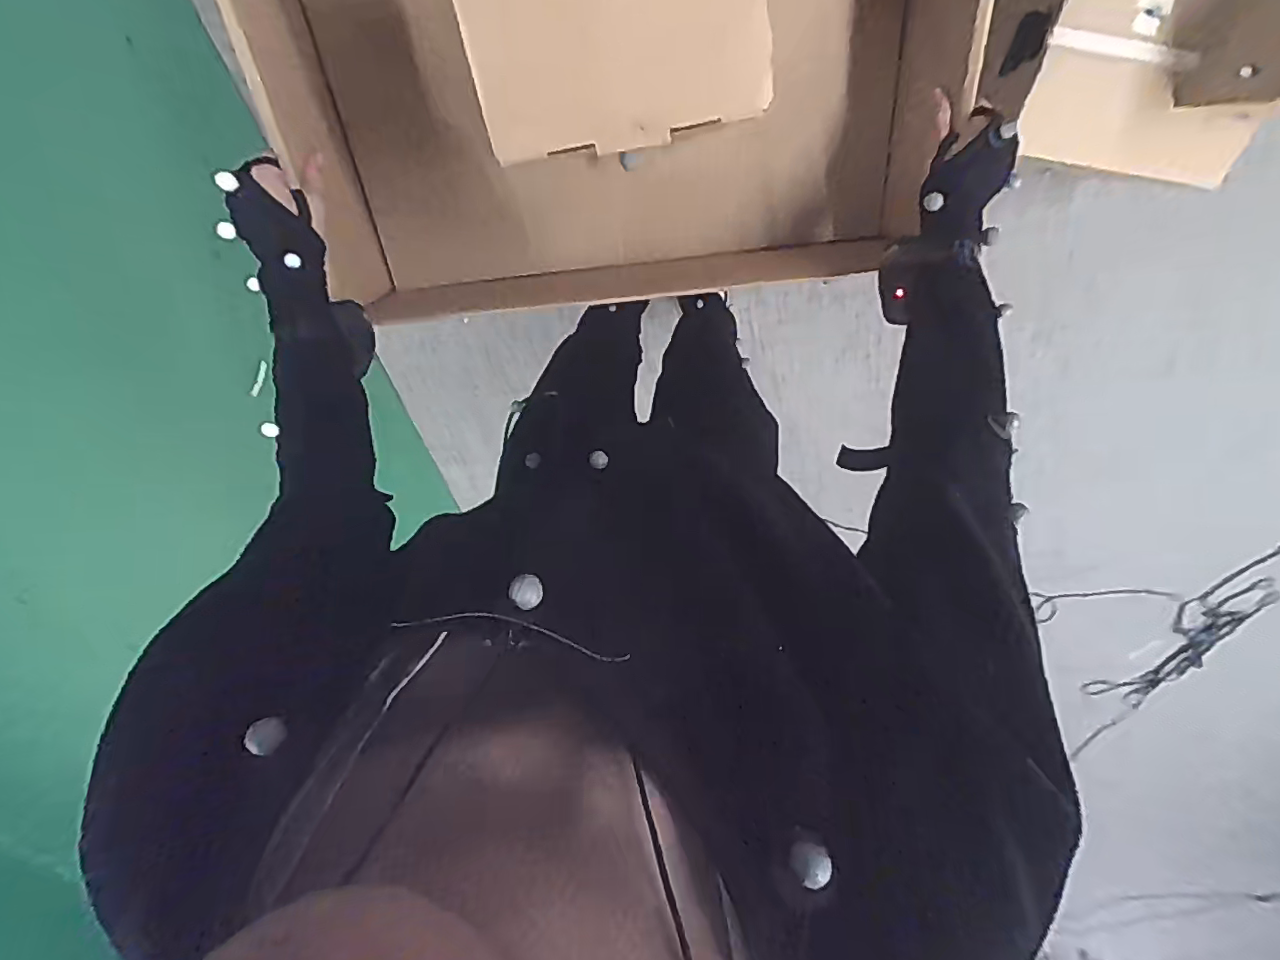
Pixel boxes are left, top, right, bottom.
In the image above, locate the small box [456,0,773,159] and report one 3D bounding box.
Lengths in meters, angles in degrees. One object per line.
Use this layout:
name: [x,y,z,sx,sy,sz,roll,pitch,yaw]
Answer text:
small box: [-0.019,-0.314,0.333,0.168,0.176,0.179,-9,122,2]
